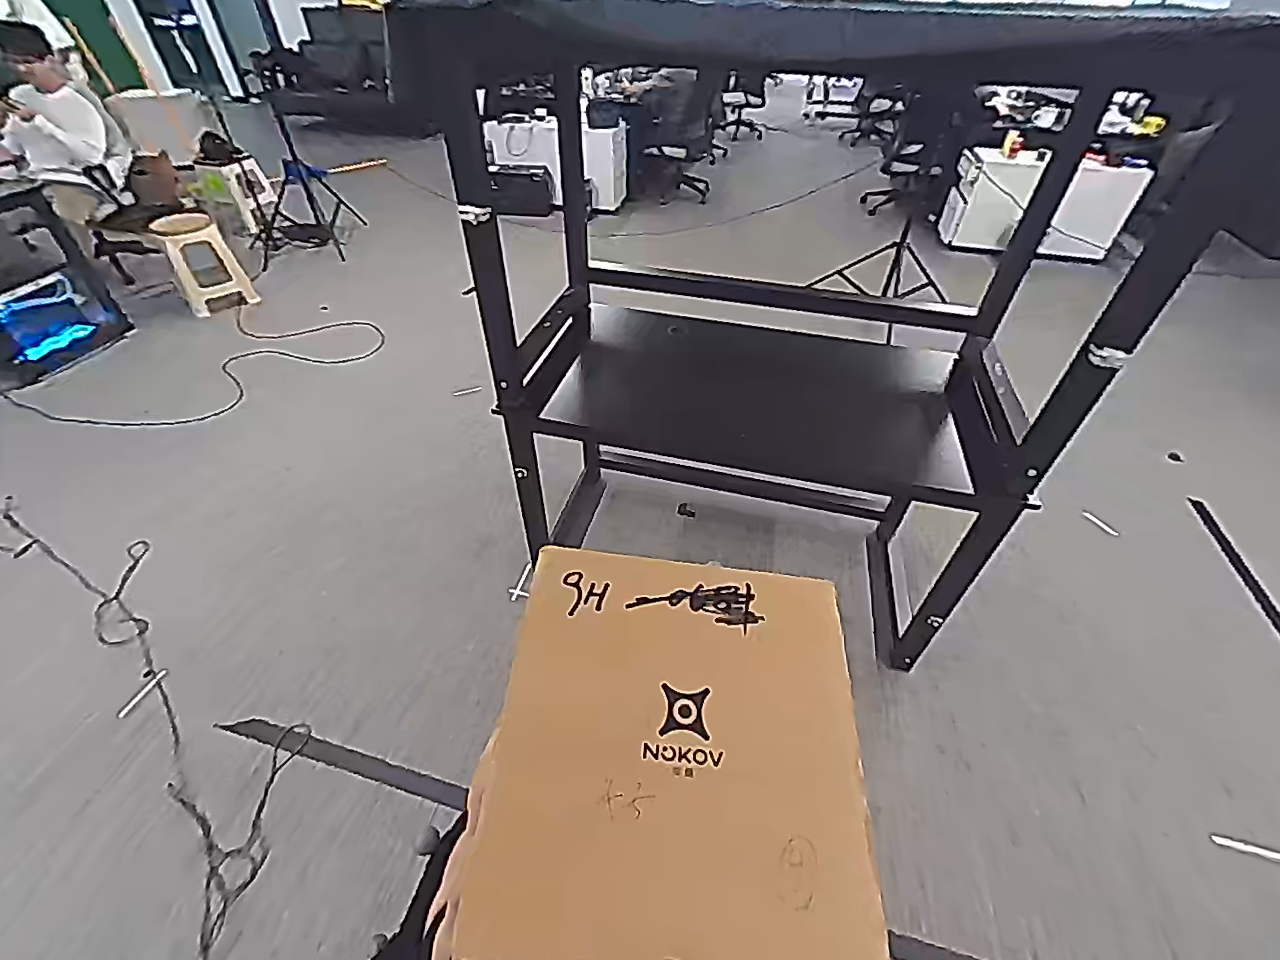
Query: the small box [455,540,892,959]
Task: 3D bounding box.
[{"bbox_3d":[0.014,0.159,0.307,0.168,0.176,0.179,8,53,-1],"label":"small box"}]
